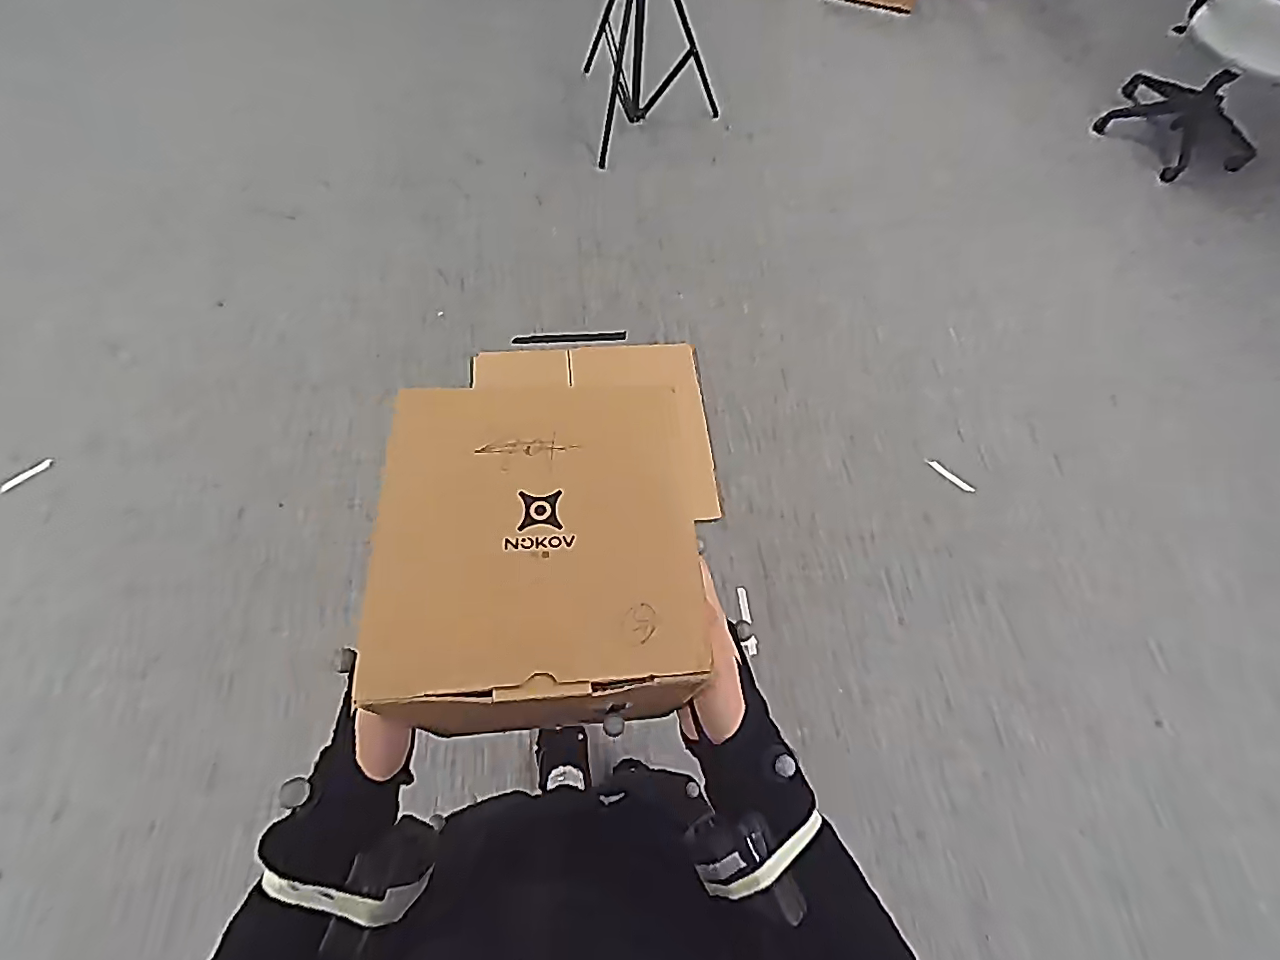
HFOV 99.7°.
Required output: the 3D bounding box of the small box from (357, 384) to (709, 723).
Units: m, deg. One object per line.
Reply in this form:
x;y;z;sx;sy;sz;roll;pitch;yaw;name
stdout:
-0.061;0.058;0.358;0.168;0.176;0.179;-2;60;-8;small box
